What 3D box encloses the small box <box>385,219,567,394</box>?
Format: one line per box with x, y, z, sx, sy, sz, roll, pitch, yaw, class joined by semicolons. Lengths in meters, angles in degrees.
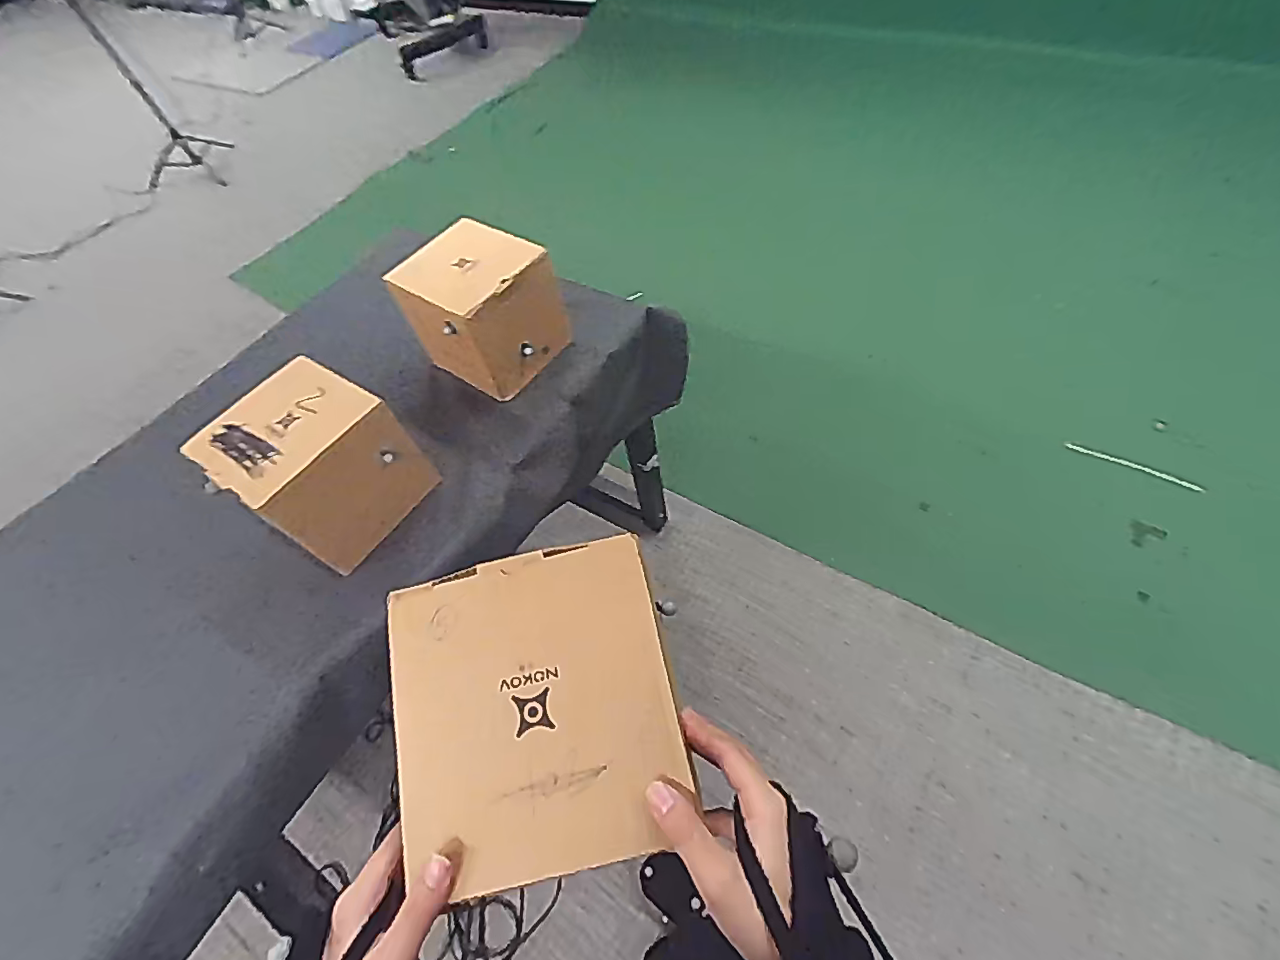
-0.238;-0.260;0.825;0.179;0.176;0.168;29;65;23;small box

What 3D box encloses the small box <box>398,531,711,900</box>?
-0.052;0.155;0.390;0.168;0.176;0.179;-13;70;1;small box
